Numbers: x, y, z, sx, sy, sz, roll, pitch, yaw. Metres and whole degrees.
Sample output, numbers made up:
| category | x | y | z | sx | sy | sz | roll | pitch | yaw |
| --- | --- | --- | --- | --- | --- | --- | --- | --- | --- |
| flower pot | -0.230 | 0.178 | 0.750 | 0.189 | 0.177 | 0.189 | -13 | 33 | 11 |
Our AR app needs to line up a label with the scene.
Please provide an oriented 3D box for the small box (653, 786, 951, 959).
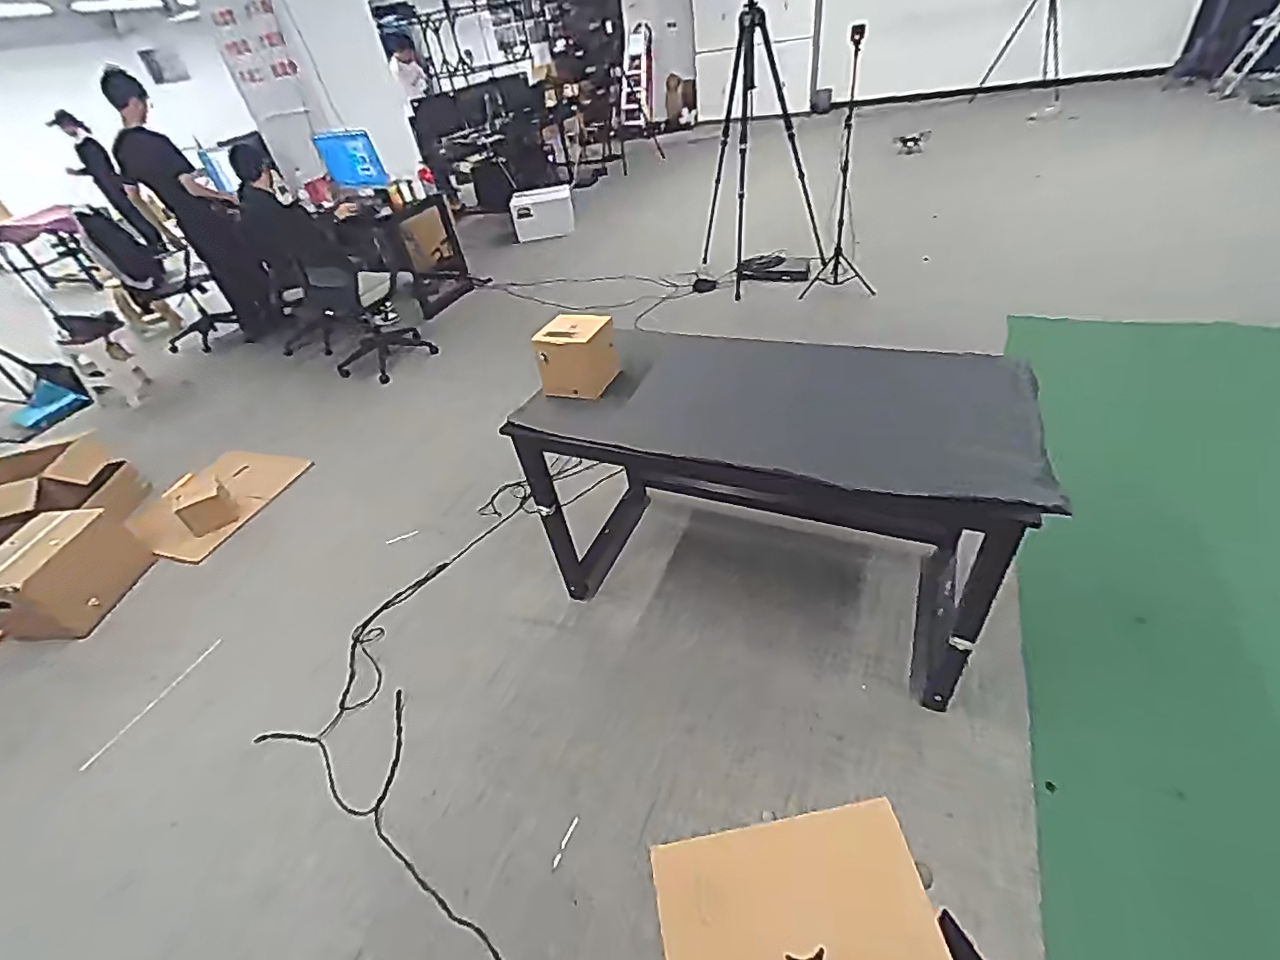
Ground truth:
| category | x | y | z | sx | sy | sz | roll | pitch | yaw |
| --- | --- | --- | --- | --- | --- | --- | --- | --- | --- |
| small box | 0.111 | 0.339 | 0.374 | 0.168 | 0.176 | 0.179 | -13 | 51 | 2 |
